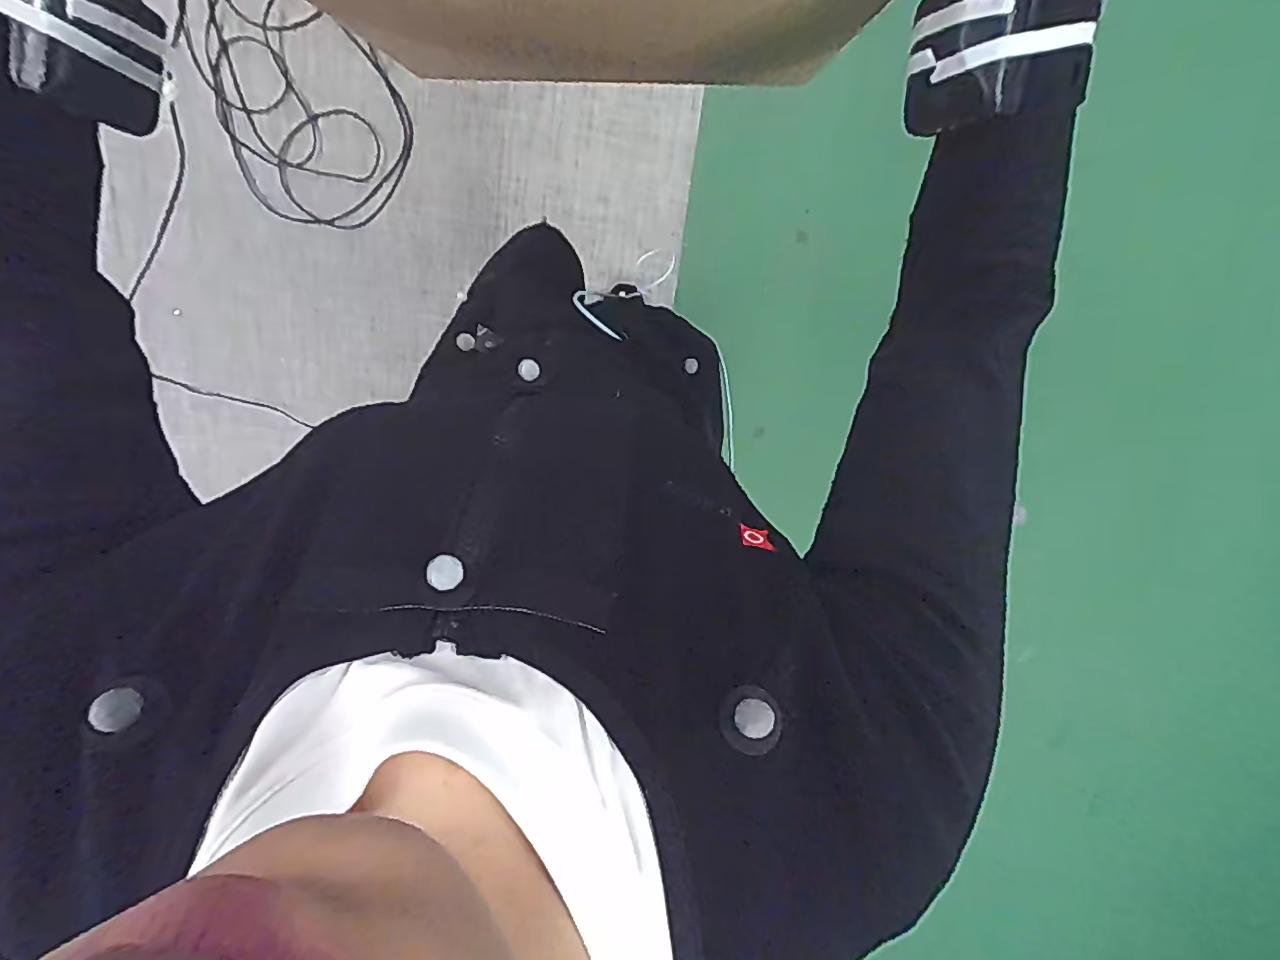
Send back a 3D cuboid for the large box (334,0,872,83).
[{"bbox_3d":[-0.027,-0.498,0.366,0.408,0.320,0.320,1,114,0],"label":"large box"}]
